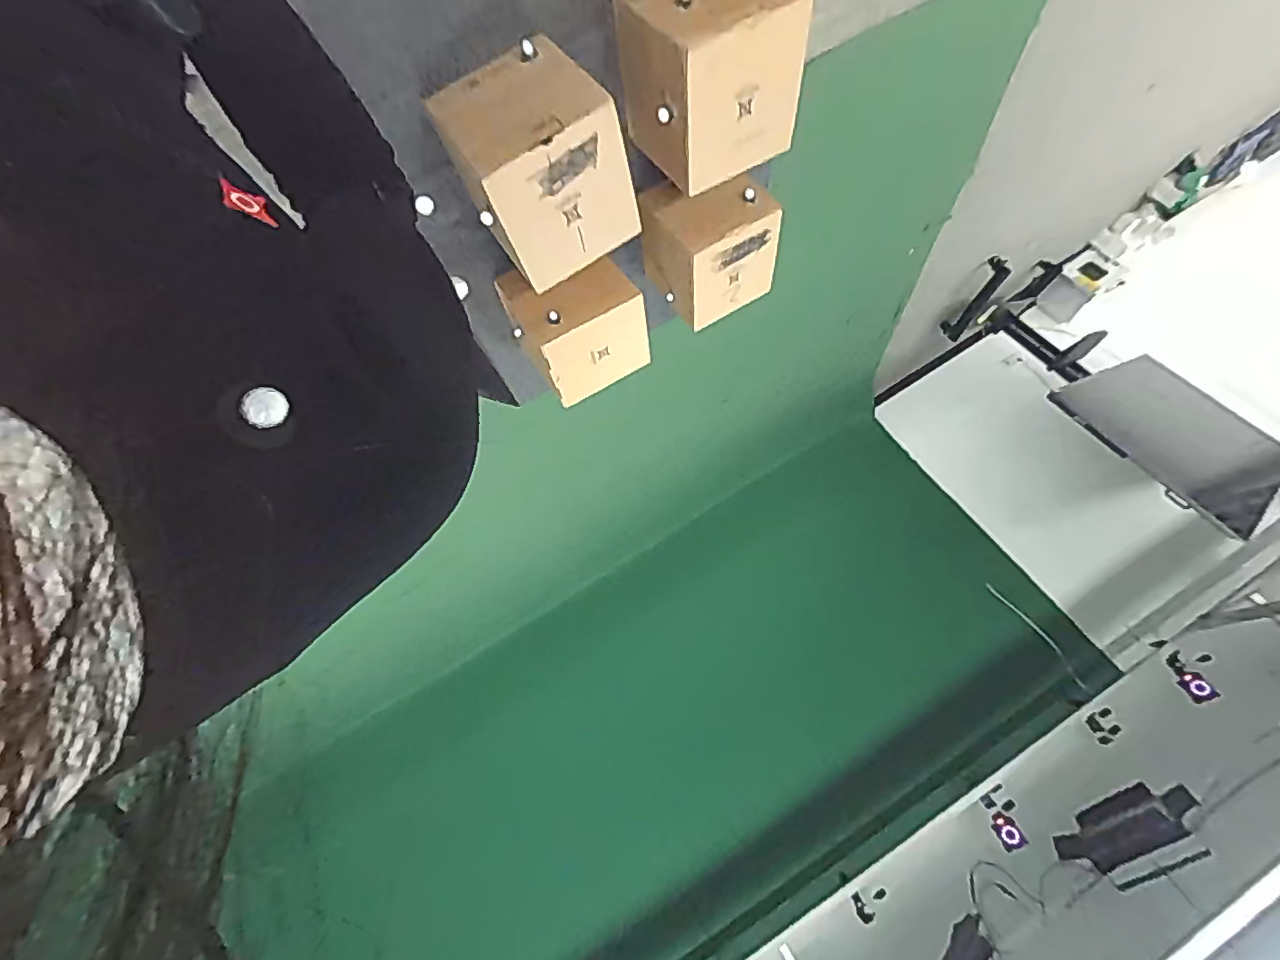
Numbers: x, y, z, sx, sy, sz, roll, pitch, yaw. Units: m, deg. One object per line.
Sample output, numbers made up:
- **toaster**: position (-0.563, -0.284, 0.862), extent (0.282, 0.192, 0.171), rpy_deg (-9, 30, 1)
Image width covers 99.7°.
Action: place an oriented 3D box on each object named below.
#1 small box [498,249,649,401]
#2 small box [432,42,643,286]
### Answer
- **small box**: position (-0.105, -0.271, 0.893), extent (0.179, 0.176, 0.168), rpy_deg (-31, 156, -9)
- **small box**: position (-0.120, -0.385, 0.658), extent (0.168, 0.176, 0.179), rpy_deg (-33, 157, -4)
